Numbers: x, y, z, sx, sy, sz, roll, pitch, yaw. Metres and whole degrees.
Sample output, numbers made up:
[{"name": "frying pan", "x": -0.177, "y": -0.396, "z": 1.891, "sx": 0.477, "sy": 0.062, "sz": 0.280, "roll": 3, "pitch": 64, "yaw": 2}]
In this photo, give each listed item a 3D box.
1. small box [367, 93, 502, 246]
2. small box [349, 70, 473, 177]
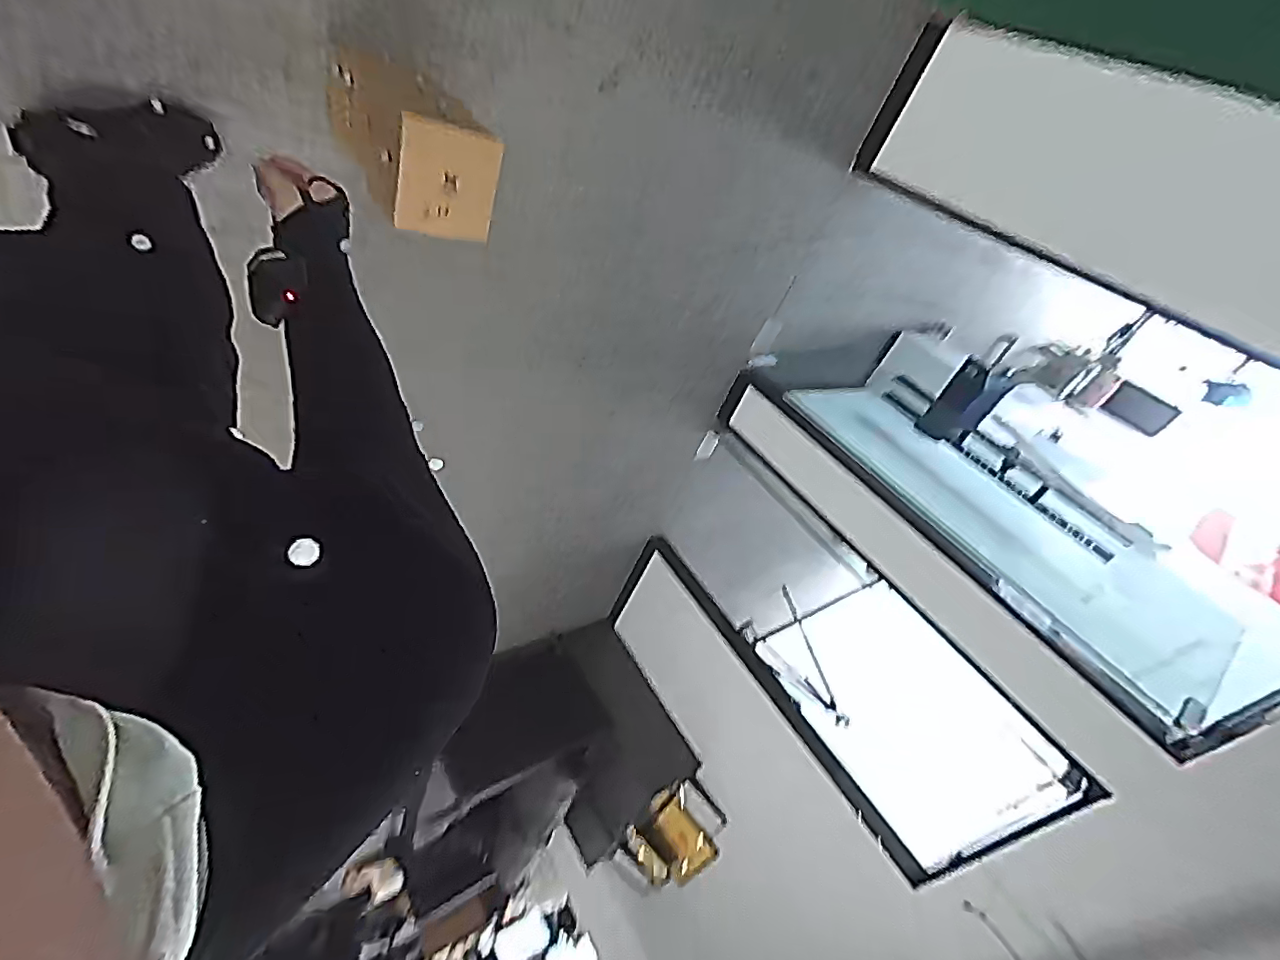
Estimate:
[{"name": "small box", "x": -0.368, "y": -0.545, "z": 0.953, "sx": 0.168, "sy": 0.176, "sz": 0.179, "roll": -10, "pitch": 138, "yaw": -39}, {"name": "small box", "x": -0.448, "y": -0.658, "z": 1.043, "sx": 0.179, "sy": 0.176, "sz": 0.168, "roll": -12, "pitch": 139, "yaw": -39}]
